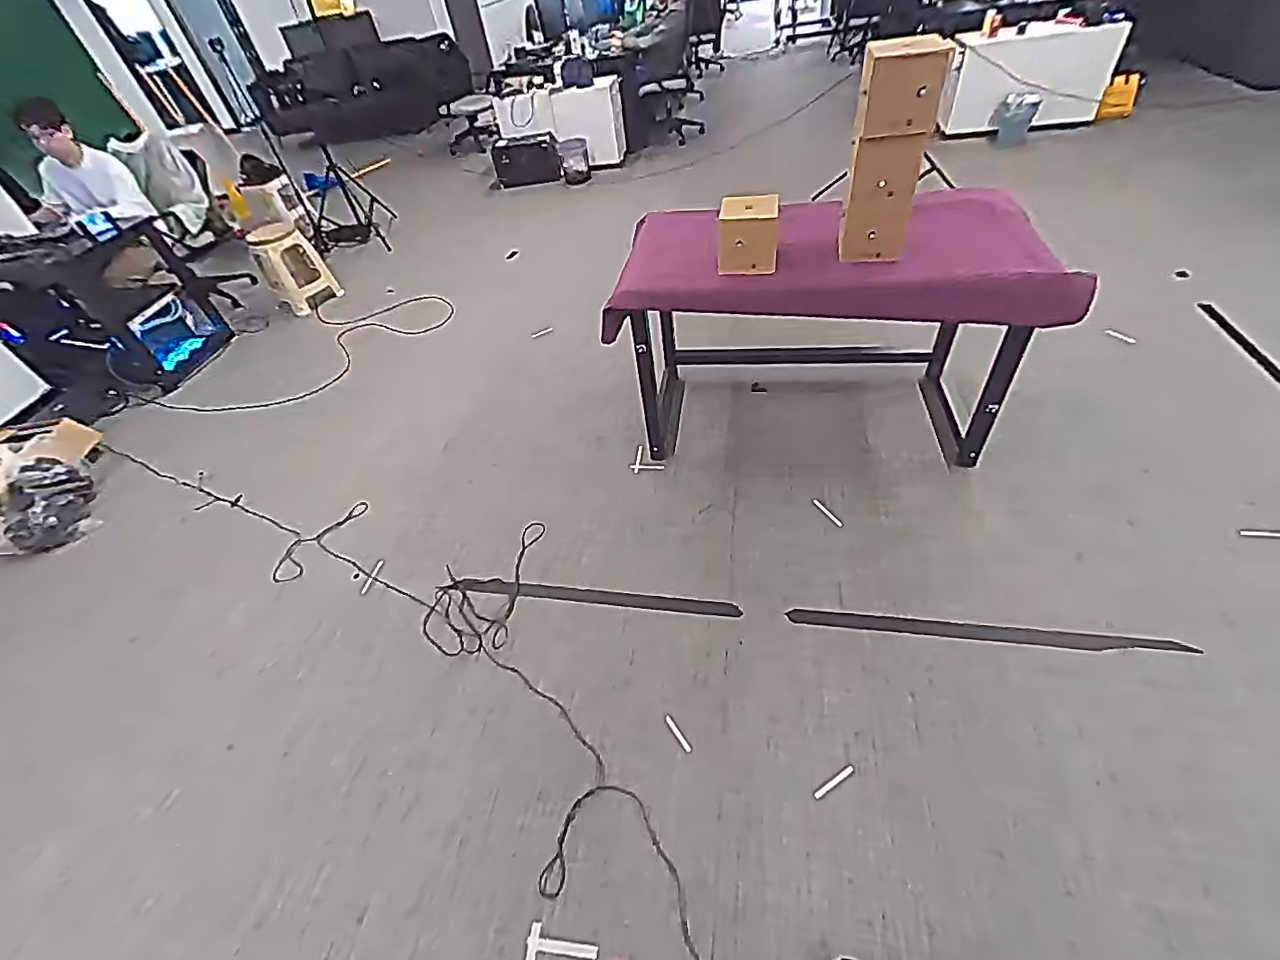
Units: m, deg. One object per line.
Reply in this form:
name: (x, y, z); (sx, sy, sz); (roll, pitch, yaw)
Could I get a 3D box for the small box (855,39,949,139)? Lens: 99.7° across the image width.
small box: (0.638, -0.961, 1.338); (0.168, 0.176, 0.179); (2, 46, 11)

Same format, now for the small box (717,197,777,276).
small box: (0.324, -0.727, 1.624); (0.168, 0.176, 0.179); (3, 46, 12)

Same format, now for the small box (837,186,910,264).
small box: (0.677, -0.749, 1.584); (0.168, 0.176, 0.179); (5, 47, 13)

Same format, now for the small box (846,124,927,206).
small box: (0.660, -0.865, 1.468); (0.168, 0.176, 0.179); (4, 48, 14)
